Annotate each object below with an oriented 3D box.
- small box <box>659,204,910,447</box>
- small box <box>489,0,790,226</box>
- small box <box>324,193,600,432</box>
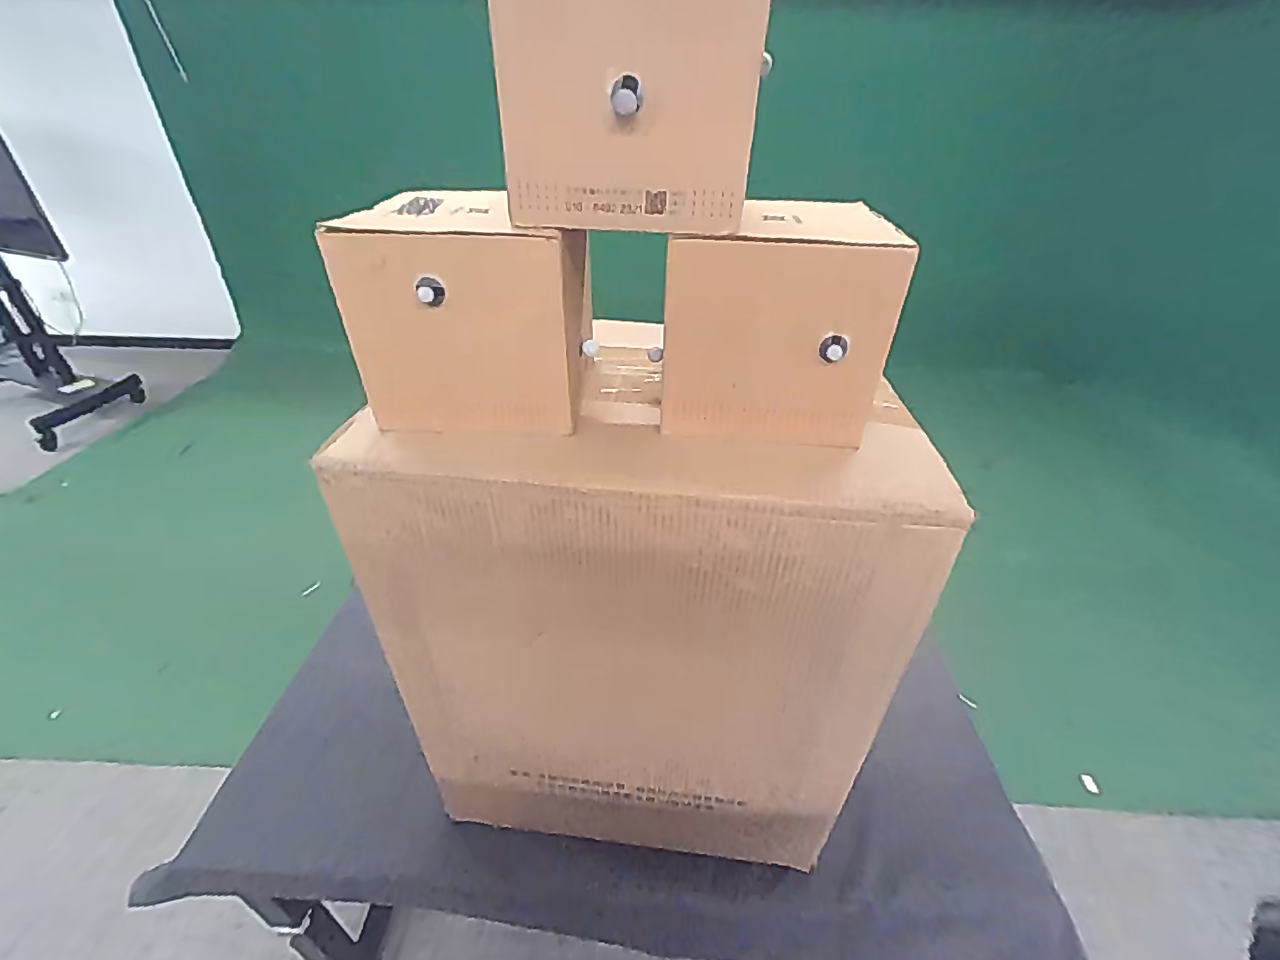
[{"bbox_3d":[0.112,-0.143,0.493,0.179,0.176,0.168,3,36,5],"label":"small box"},{"bbox_3d":[-0.002,-0.302,0.416,0.179,0.176,0.168,-16,39,-21],"label":"small box"},{"bbox_3d":[-0.139,-0.157,0.501,0.179,0.176,0.168,4,38,6],"label":"small box"}]
